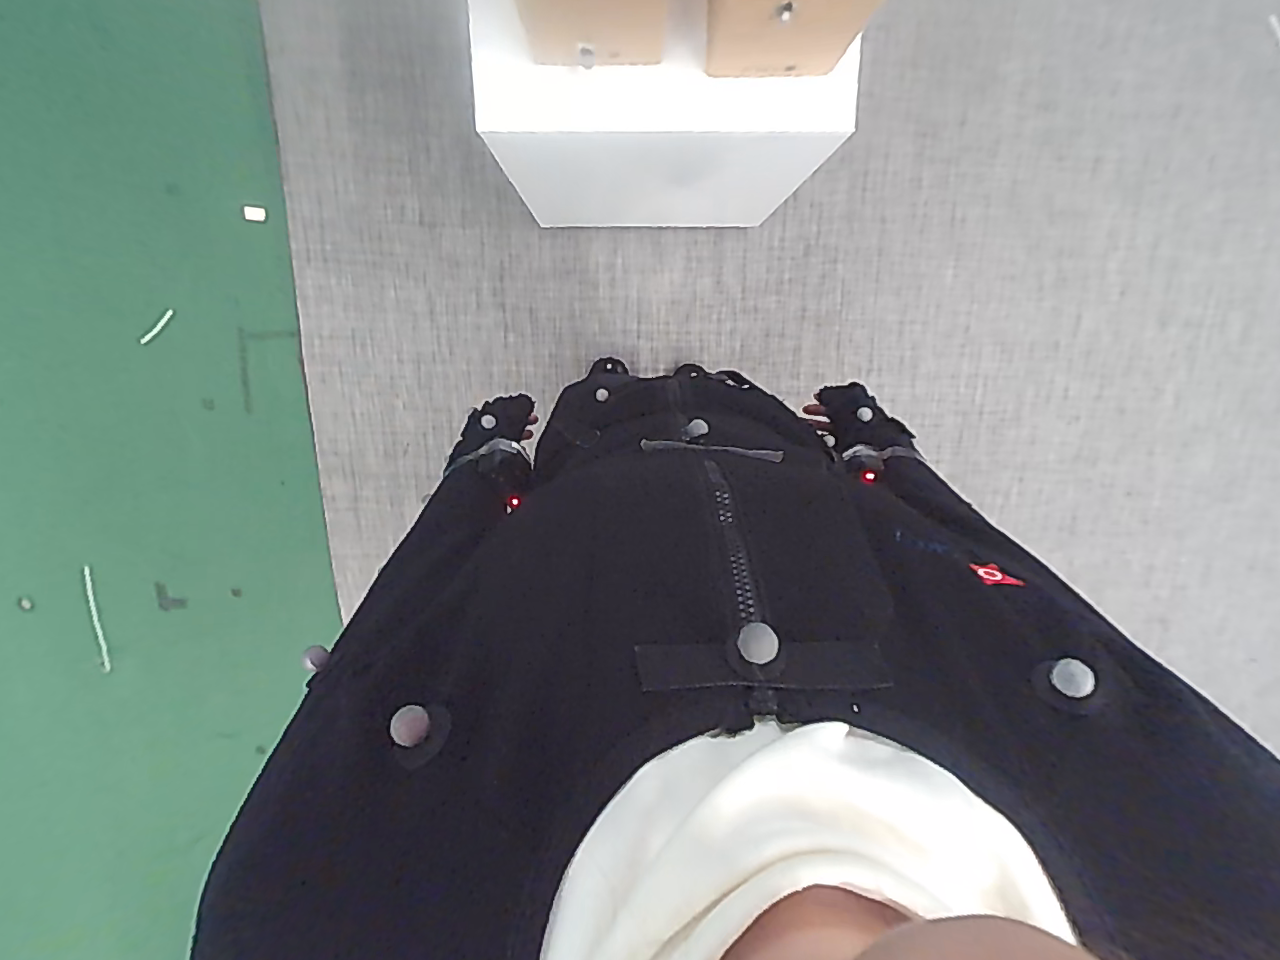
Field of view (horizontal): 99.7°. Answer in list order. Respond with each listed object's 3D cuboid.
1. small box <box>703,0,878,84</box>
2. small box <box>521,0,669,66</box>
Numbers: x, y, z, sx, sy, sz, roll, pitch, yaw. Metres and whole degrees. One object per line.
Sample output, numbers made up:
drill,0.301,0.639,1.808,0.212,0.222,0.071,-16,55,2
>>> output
small box,0.165,-0.597,0.619,0.168,0.176,0.179,-1,101,-1
small box,-0.054,-0.603,0.599,0.168,0.176,0.179,-3,103,0
